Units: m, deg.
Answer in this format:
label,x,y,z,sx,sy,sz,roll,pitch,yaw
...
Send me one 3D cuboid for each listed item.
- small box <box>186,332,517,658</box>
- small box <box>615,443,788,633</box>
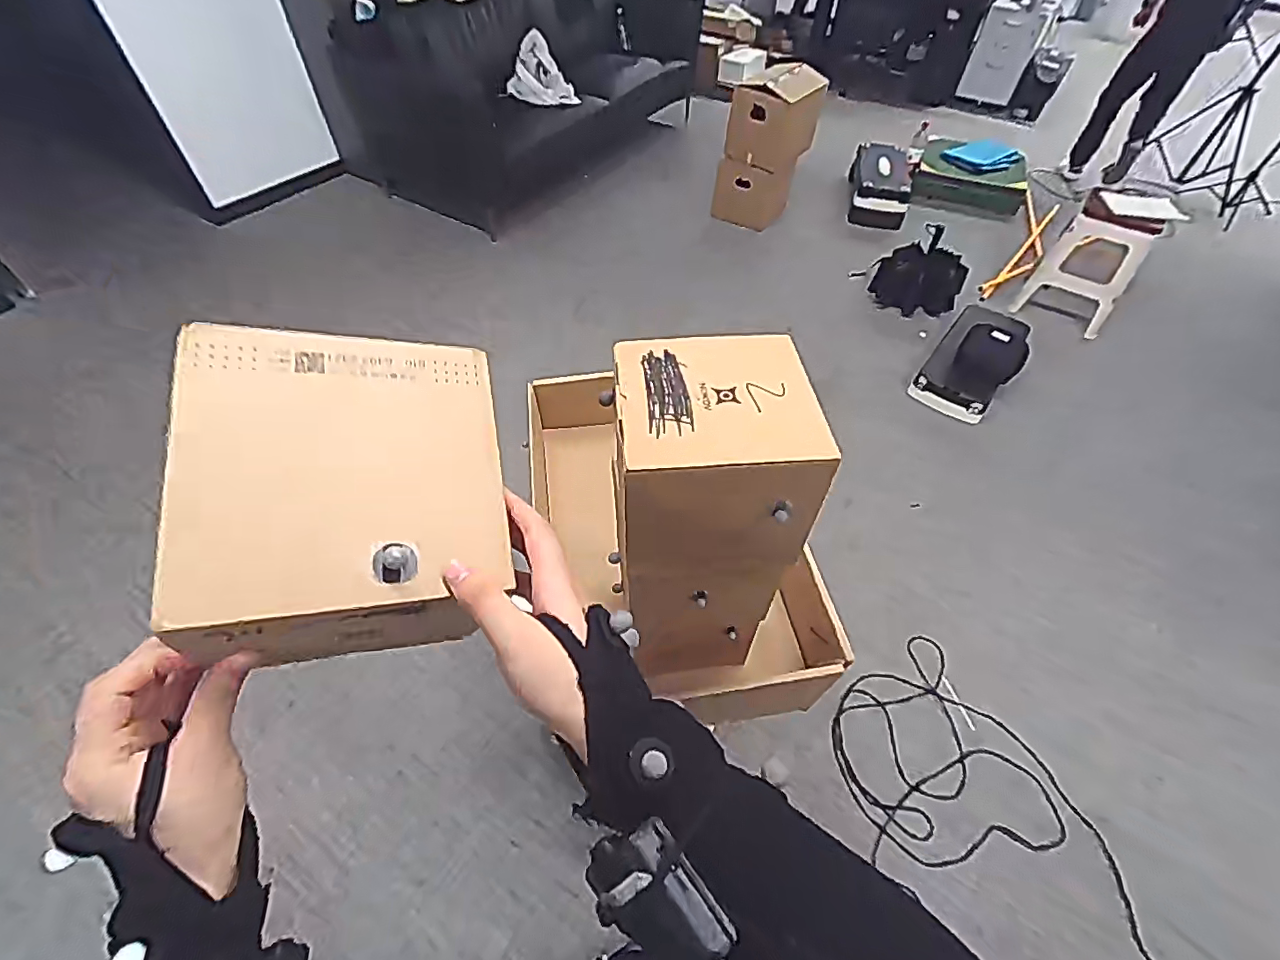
label,x,y,z,sx,sy,sz,roll,pitch,yaw
small box,-0.197,0.021,0.390,0.168,0.179,0.176,-1,67,-28
small box,0.063,0.075,0.680,0.179,0.176,0.168,-6,50,-4
